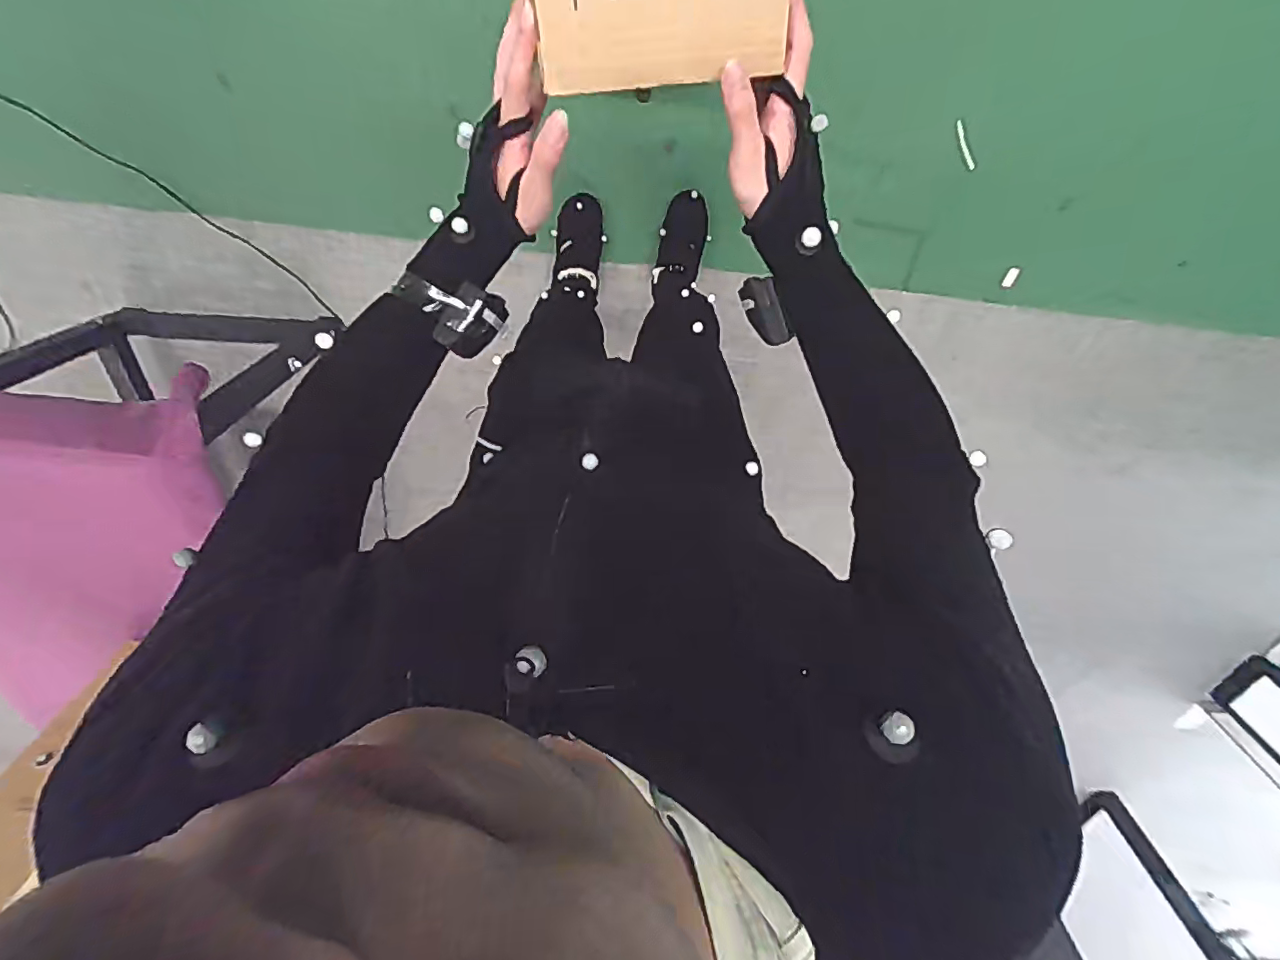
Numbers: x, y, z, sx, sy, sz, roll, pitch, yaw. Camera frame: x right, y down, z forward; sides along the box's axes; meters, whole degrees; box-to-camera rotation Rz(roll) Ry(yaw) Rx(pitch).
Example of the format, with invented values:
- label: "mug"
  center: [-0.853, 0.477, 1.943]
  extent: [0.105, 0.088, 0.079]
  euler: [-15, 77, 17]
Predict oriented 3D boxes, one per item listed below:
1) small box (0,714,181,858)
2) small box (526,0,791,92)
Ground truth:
- label: "small box"
  center: [-0.998, 0.552, 0.984]
  extent: [0.168, 0.176, 0.179]
  euler: [8, 123, -5]
- label: "small box"
  center: [0.004, -0.392, 0.387]
  extent: [0.179, 0.176, 0.168]
  euler: [-7, 133, -2]
